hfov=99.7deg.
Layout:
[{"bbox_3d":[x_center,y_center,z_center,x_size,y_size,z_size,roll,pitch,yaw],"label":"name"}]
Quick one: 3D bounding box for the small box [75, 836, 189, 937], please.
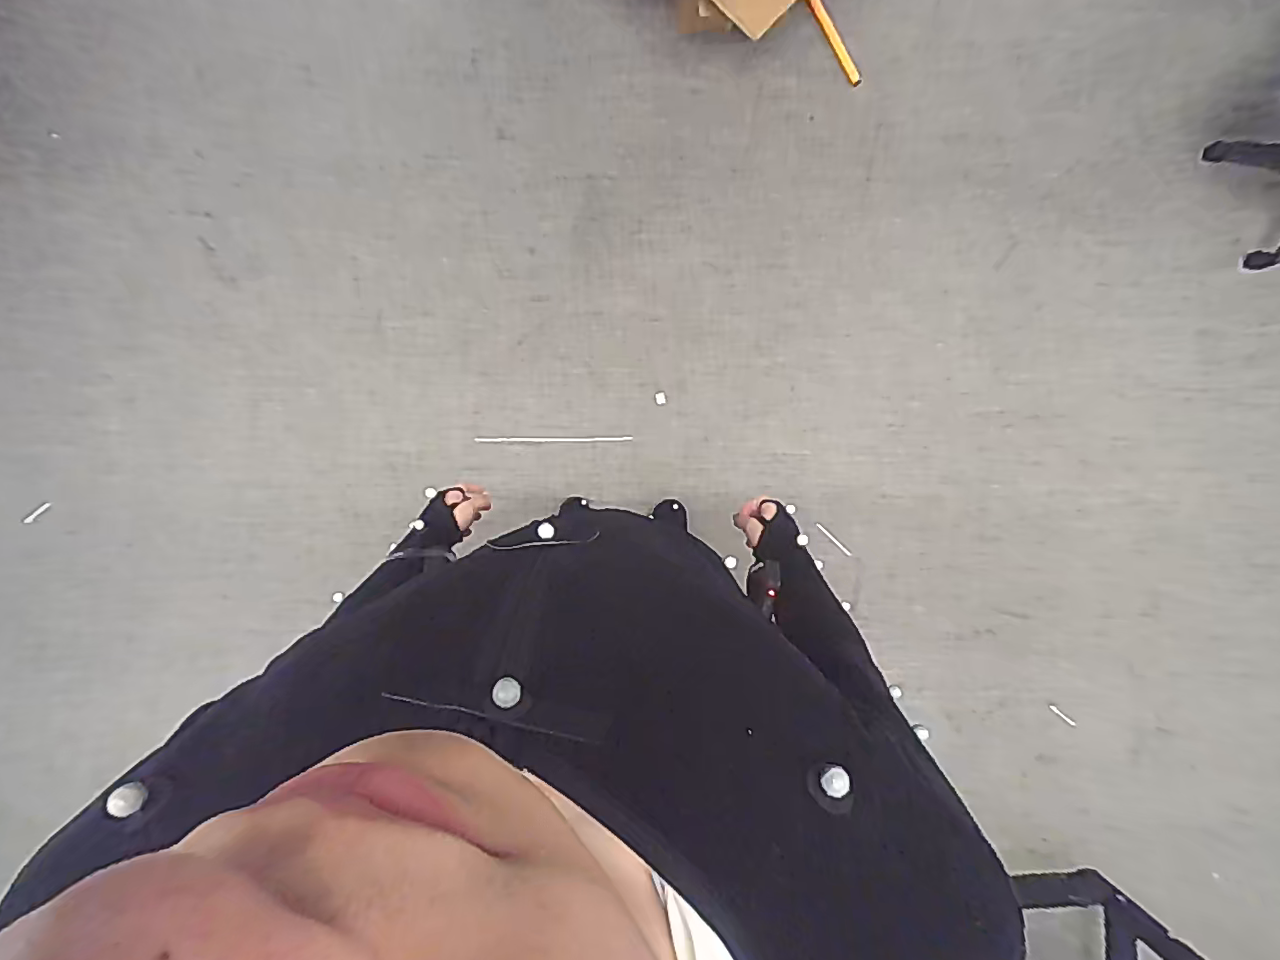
[{"bbox_3d":[-1.413,1.131,1.515,0.179,0.176,0.168,0,89,-1],"label":"small box"}]
